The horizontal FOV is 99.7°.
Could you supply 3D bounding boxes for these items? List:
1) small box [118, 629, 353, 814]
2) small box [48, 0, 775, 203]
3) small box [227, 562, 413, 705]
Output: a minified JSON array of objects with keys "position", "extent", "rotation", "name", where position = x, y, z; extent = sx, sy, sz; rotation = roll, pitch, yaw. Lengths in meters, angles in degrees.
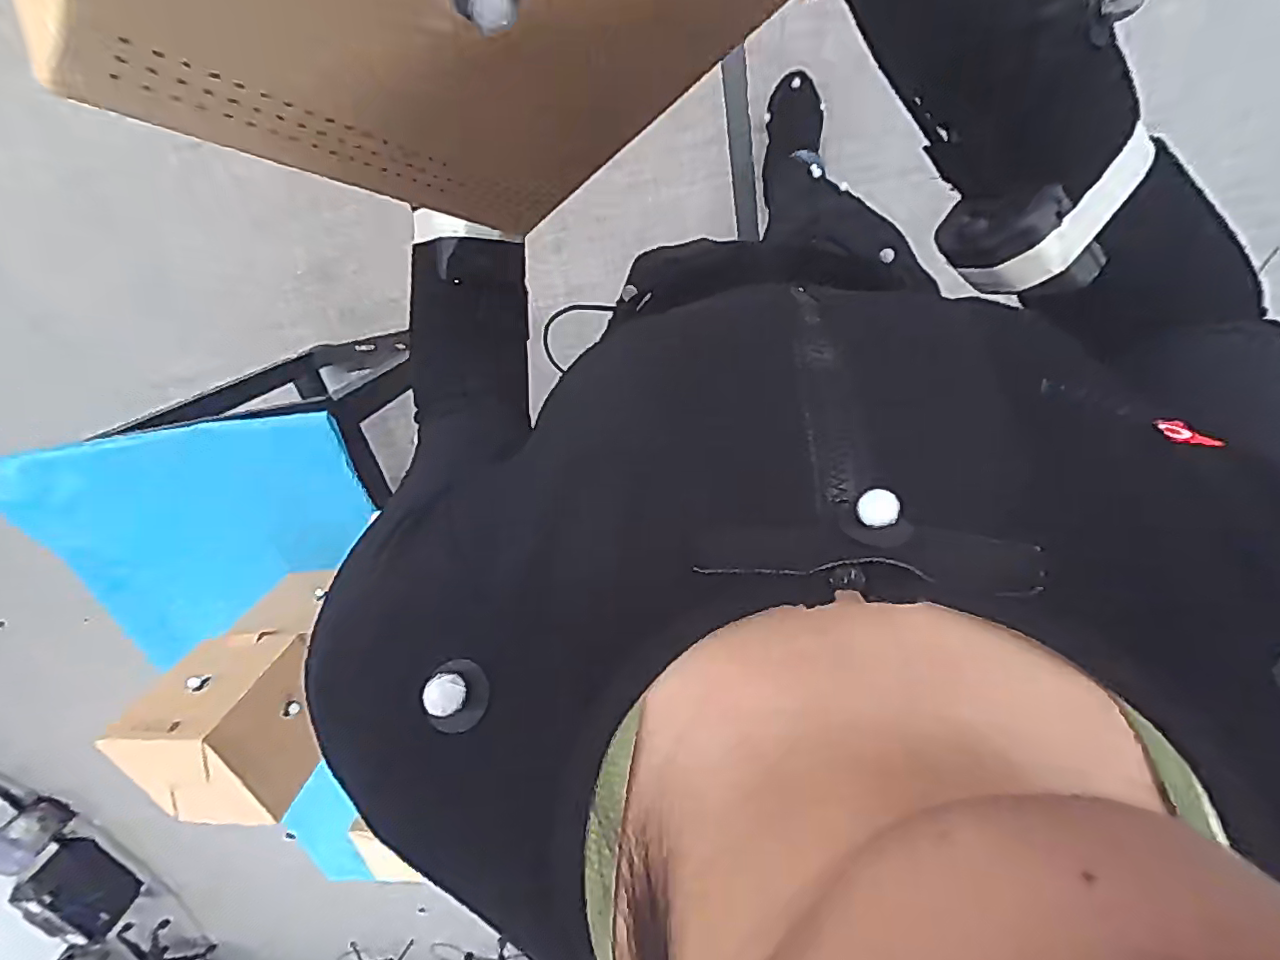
[{"position":[-0.549,0.331,0.747],"extent":[0.168,0.176,0.179],"rotation":[-5,120,13],"name":"small box"},{"position":[-0.071,-0.224,0.174],"extent":[0.176,0.179,0.168],"rotation":[-23,85,37],"name":"small box"},{"position":[-0.521,0.257,0.891],"extent":[0.179,0.176,0.168],"rotation":[-7,117,13],"name":"small box"}]
